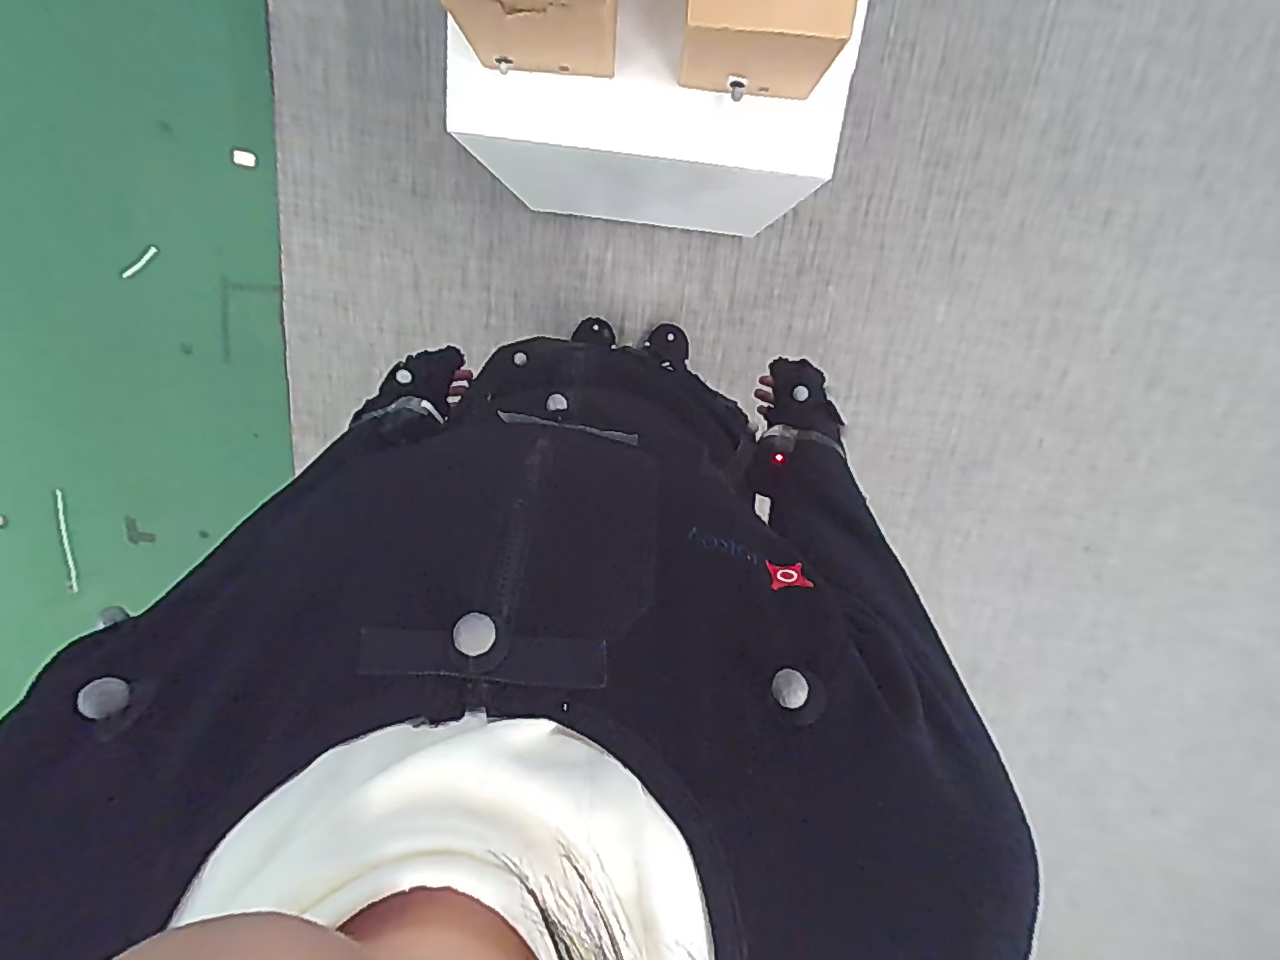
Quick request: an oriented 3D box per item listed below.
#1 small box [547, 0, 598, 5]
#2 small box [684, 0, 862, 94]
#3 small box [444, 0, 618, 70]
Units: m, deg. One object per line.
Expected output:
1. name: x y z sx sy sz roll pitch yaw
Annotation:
1. small box: -0.106 -0.527 0.421 0.168 0.176 0.179 4 106 0
2. small box: 0.136 -0.543 0.568 0.168 0.176 0.179 4 109 1
3. small box: -0.108 -0.574 0.577 0.168 0.176 0.179 4 106 0
